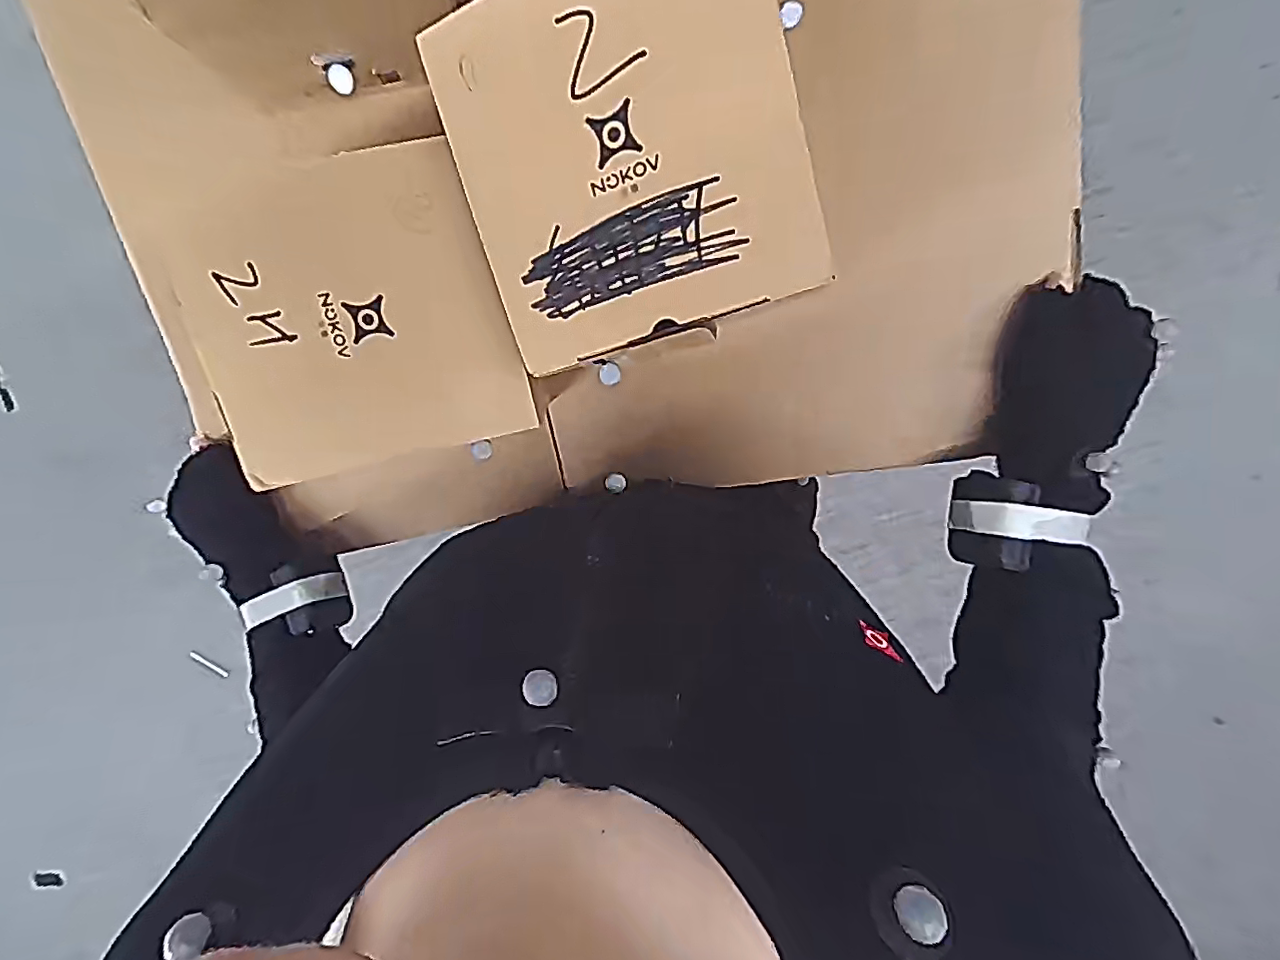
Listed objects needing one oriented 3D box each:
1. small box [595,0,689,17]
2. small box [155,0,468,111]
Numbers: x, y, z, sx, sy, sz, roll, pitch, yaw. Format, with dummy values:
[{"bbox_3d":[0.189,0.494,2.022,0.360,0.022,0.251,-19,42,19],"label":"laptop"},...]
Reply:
[{"bbox_3d":[0.020,-0.382,0.270,0.168,0.176,0.179,-6,104,18],"label":"small box"},{"bbox_3d":[-0.219,-0.366,0.324,0.168,0.176,0.179,-14,104,-3],"label":"small box"}]
